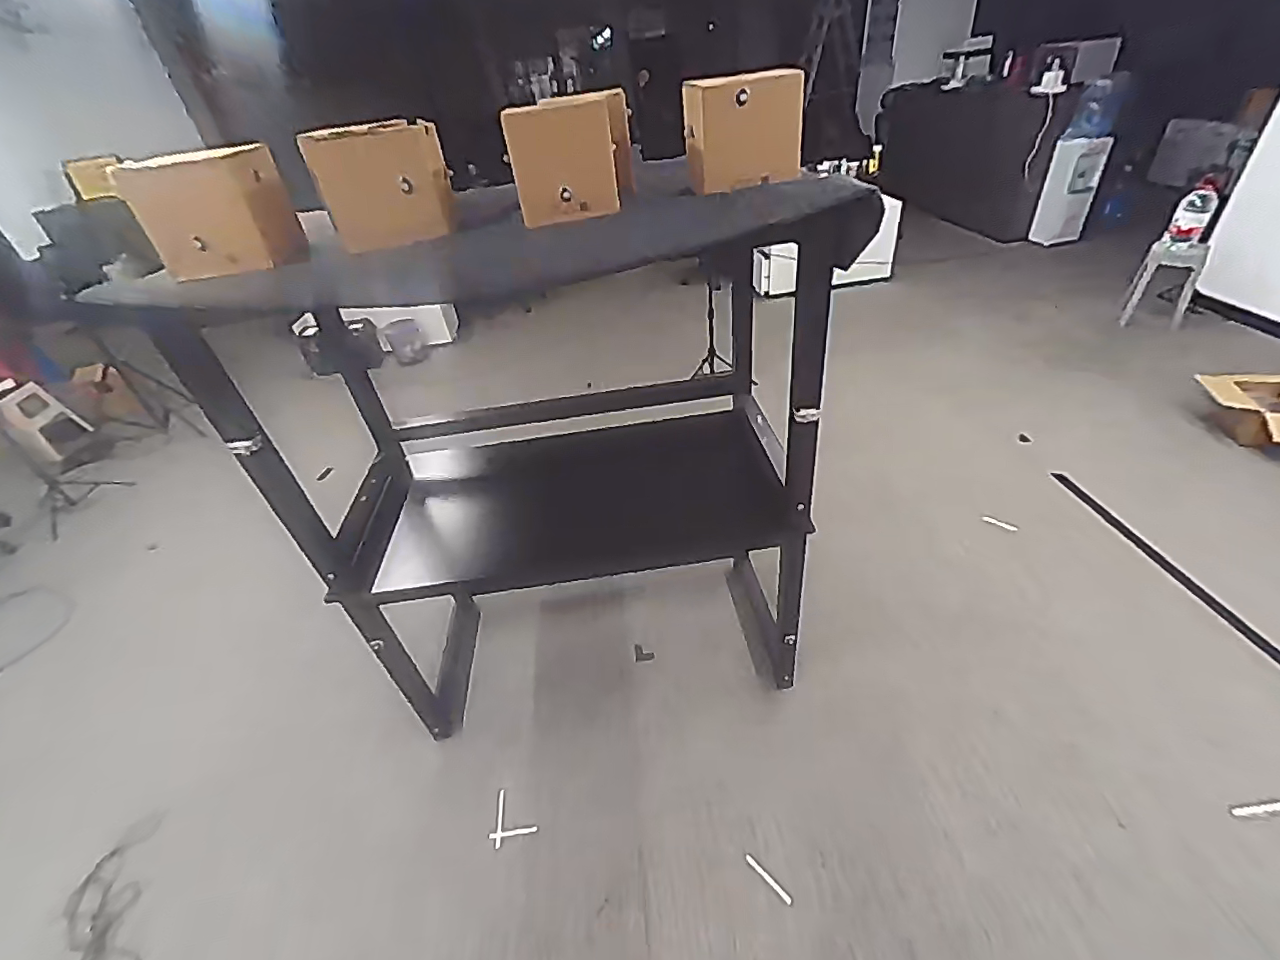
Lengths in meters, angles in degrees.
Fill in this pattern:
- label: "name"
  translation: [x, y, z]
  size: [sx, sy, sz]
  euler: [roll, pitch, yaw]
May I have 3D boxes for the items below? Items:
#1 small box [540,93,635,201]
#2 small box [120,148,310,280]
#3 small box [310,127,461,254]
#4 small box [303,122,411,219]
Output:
- label: "small box"
  translation: [-0.103, -0.692, 1.124]
  size: [0.168, 0.176, 0.179]
  euler: [-8, 37, 1]
- label: "small box"
  translation: [-0.702, -0.455, 0.924]
  size: [0.168, 0.176, 0.179]
  euler: [-10, 38, -4]
- label: "small box"
  translation: [-0.423, -0.504, 0.940]
  size: [0.179, 0.176, 0.168]
  euler: [-9, 34, -4]
- label: "small box"
  translation: [-0.545, -0.624, 1.119]
  size: [0.168, 0.176, 0.179]
  euler: [-8, 36, 0]
